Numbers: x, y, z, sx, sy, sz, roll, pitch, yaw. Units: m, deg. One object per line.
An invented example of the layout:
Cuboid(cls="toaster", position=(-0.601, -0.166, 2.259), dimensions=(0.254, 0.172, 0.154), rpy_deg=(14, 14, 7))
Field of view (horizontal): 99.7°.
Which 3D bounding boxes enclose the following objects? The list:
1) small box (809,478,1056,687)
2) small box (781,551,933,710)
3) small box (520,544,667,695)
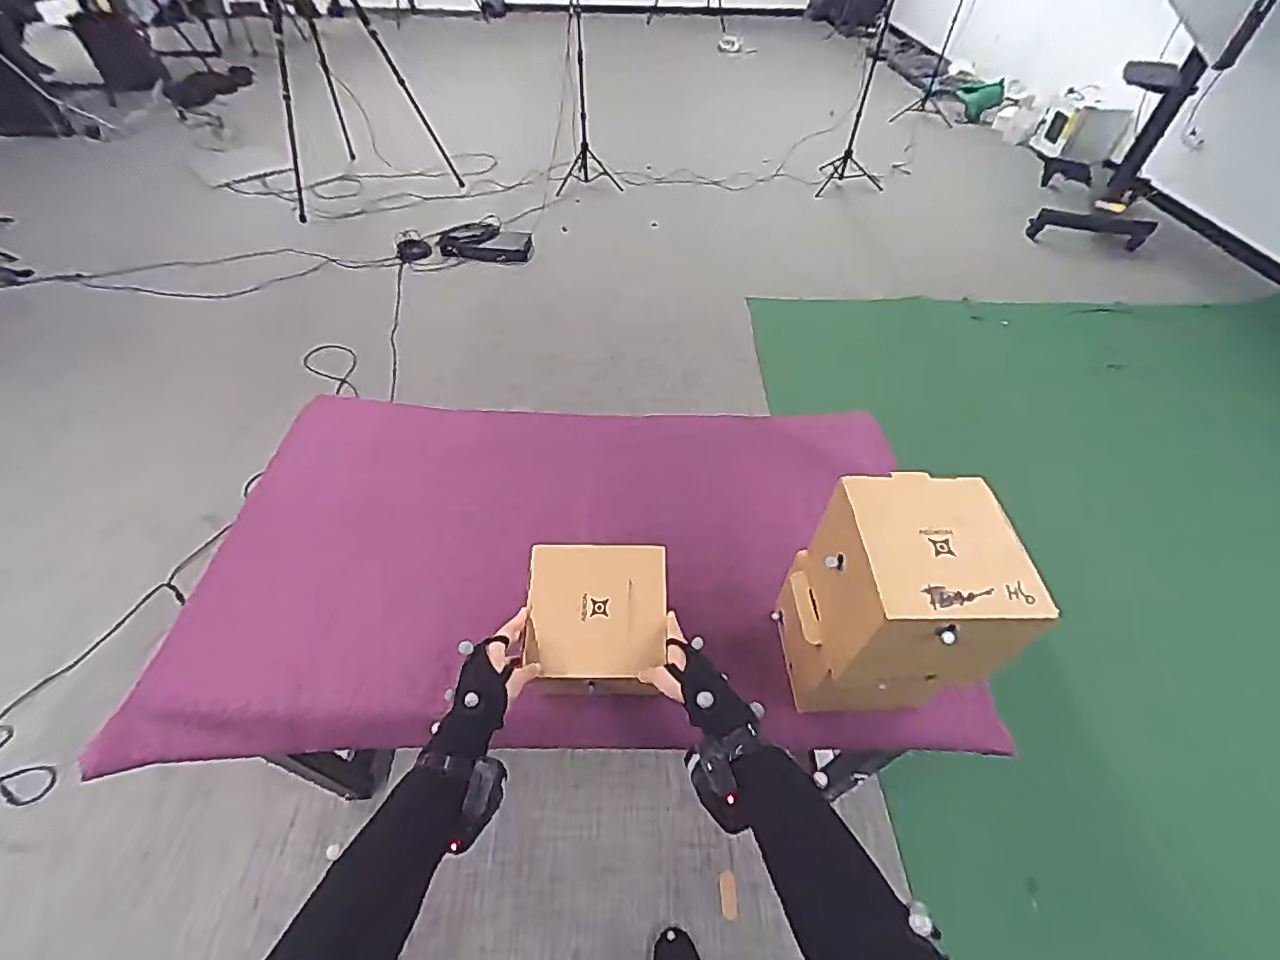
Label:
Cuboid(cls="small box", position=(0.306, 0.117, 0.617), dimensions=(0.168, 0.176, 0.179), rpy_deg=(0, 49, 0))
Cuboid(cls="small box", position=(0.305, 0.210, 0.753), dimensions=(0.179, 0.176, 0.168), rpy_deg=(-1, 50, -3))
Cuboid(cls="small box", position=(-0.053, 0.196, 0.741), dimensions=(0.179, 0.176, 0.168), rpy_deg=(1, 62, 0))
